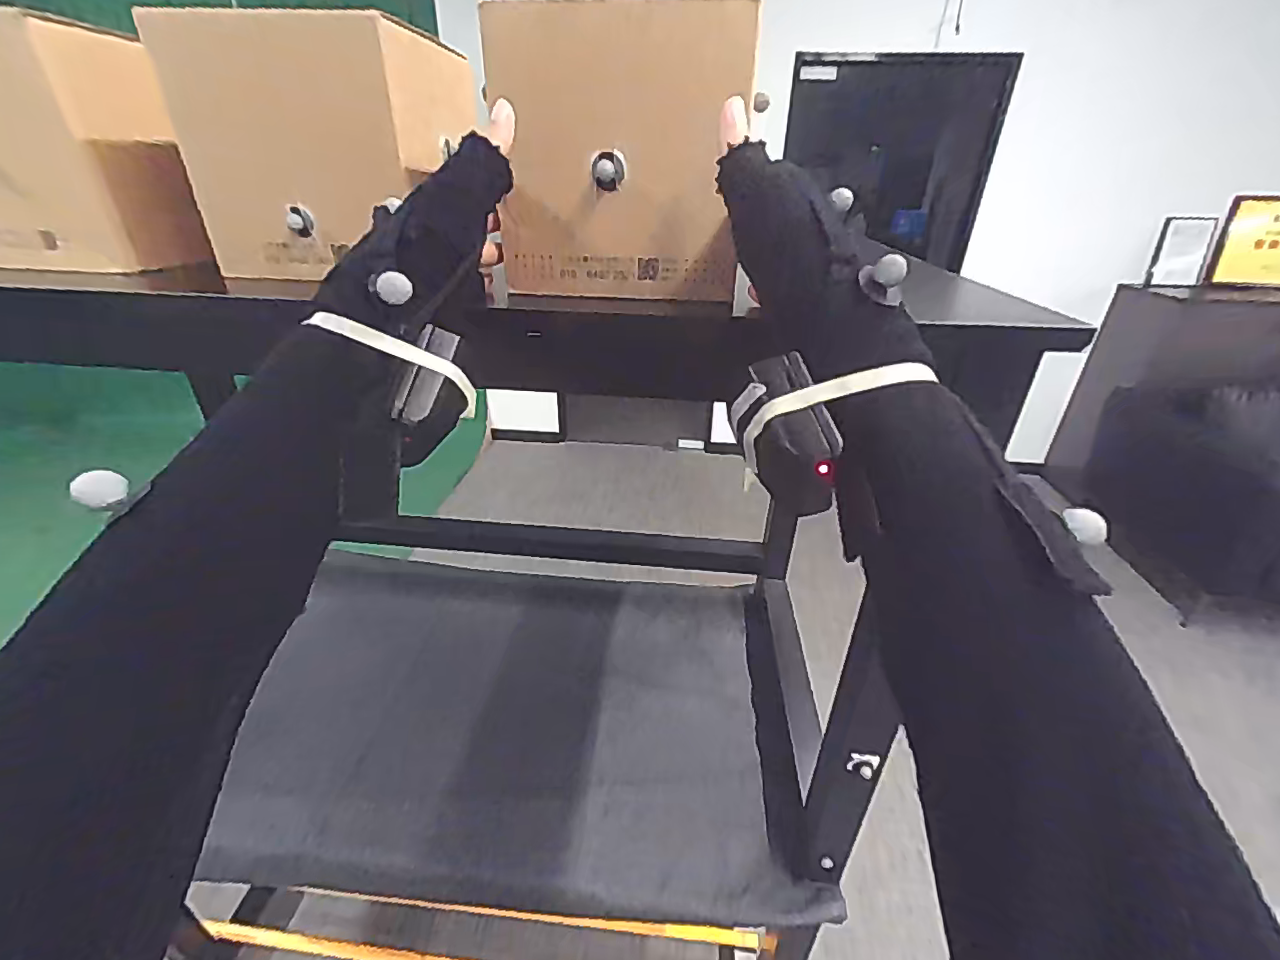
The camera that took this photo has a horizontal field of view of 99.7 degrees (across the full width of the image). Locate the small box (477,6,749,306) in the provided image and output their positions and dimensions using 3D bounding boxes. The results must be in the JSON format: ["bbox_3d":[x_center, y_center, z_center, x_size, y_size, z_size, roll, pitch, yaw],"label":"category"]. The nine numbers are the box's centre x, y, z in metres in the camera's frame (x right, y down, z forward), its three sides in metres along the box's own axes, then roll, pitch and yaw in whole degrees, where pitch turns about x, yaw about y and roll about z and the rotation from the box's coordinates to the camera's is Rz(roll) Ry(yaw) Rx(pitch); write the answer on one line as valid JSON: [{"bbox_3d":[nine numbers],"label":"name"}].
[{"bbox_3d":[-0.007,-0.239,0.424,0.168,0.176,0.179,5,29,6],"label":"small box"}]

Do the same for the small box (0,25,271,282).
[{"bbox_3d":[-0.477,-0.277,0.483,0.168,0.176,0.179,4,29,6],"label":"small box"}]
